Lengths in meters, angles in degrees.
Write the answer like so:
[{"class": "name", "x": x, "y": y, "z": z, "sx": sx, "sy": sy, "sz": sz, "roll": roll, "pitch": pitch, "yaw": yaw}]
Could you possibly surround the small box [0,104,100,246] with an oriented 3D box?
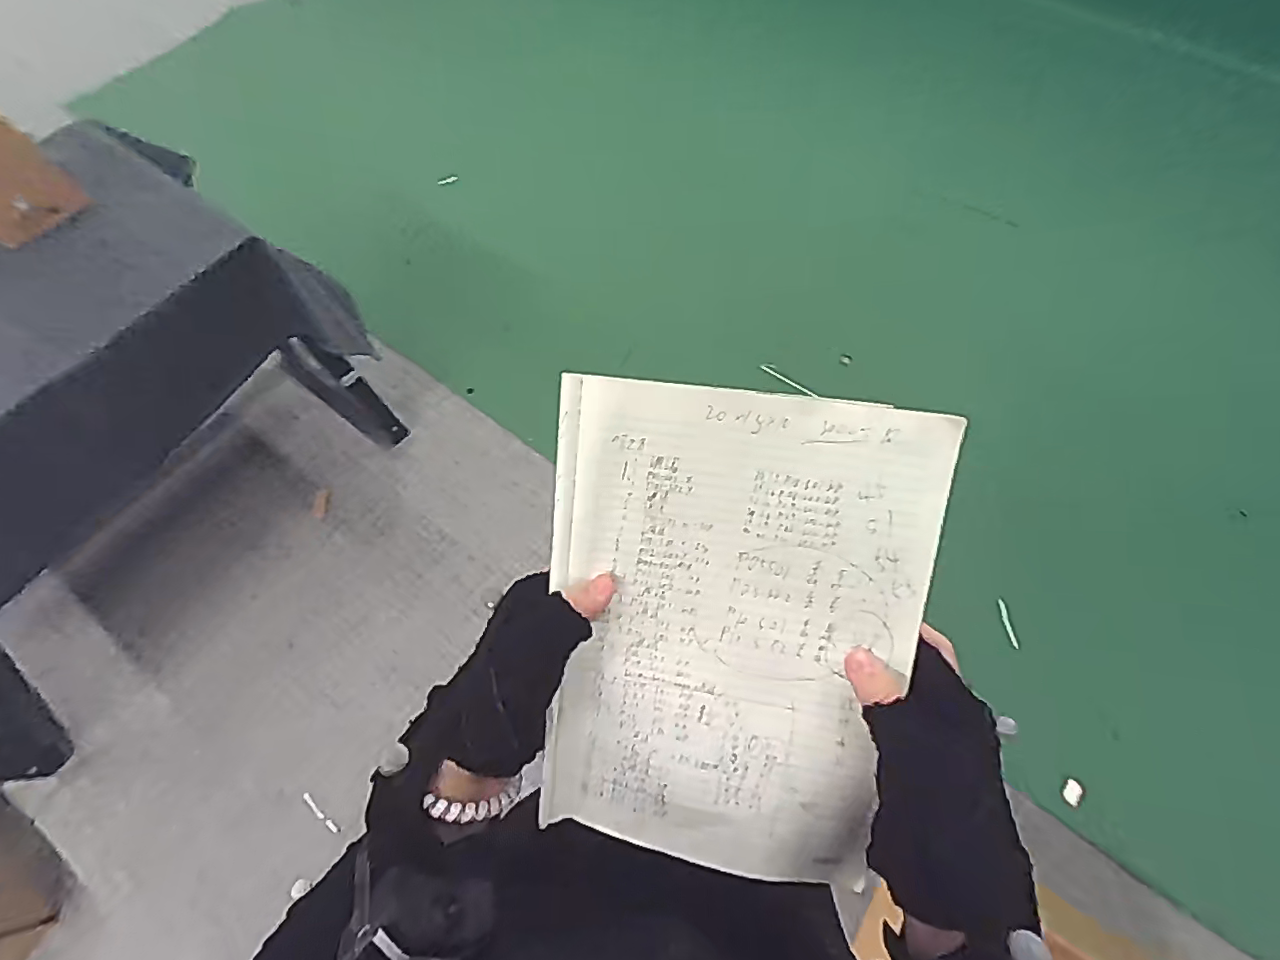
[{"class": "small box", "x": -1.155, "y": -0.561, "z": 0.972, "sx": 0.179, "sy": 0.176, "sz": 0.168, "roll": 38, "pitch": 72, "yaw": 16}]
